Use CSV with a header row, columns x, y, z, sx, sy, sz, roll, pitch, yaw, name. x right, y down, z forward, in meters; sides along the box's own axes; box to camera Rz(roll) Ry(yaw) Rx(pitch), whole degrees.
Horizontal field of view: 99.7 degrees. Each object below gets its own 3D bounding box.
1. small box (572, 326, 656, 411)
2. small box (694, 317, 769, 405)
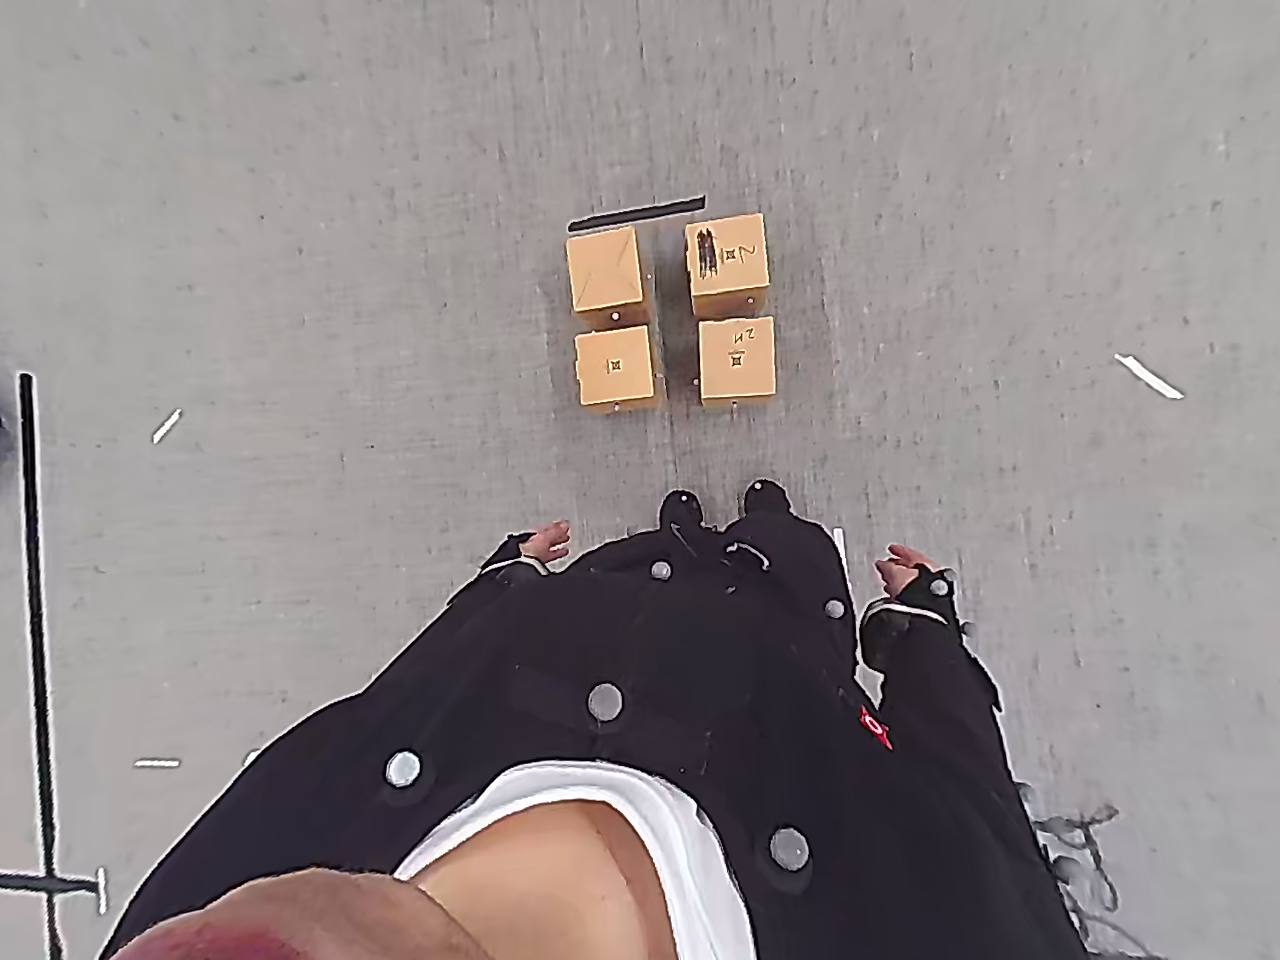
x,y,z,sx,sy,sz,roll,pitch,yaw,name
-0.057,-0.269,1.333,0.179,0.176,0.168,-5,89,9,small box
0.217,-0.275,1.290,0.168,0.176,0.179,-1,90,8,small box
